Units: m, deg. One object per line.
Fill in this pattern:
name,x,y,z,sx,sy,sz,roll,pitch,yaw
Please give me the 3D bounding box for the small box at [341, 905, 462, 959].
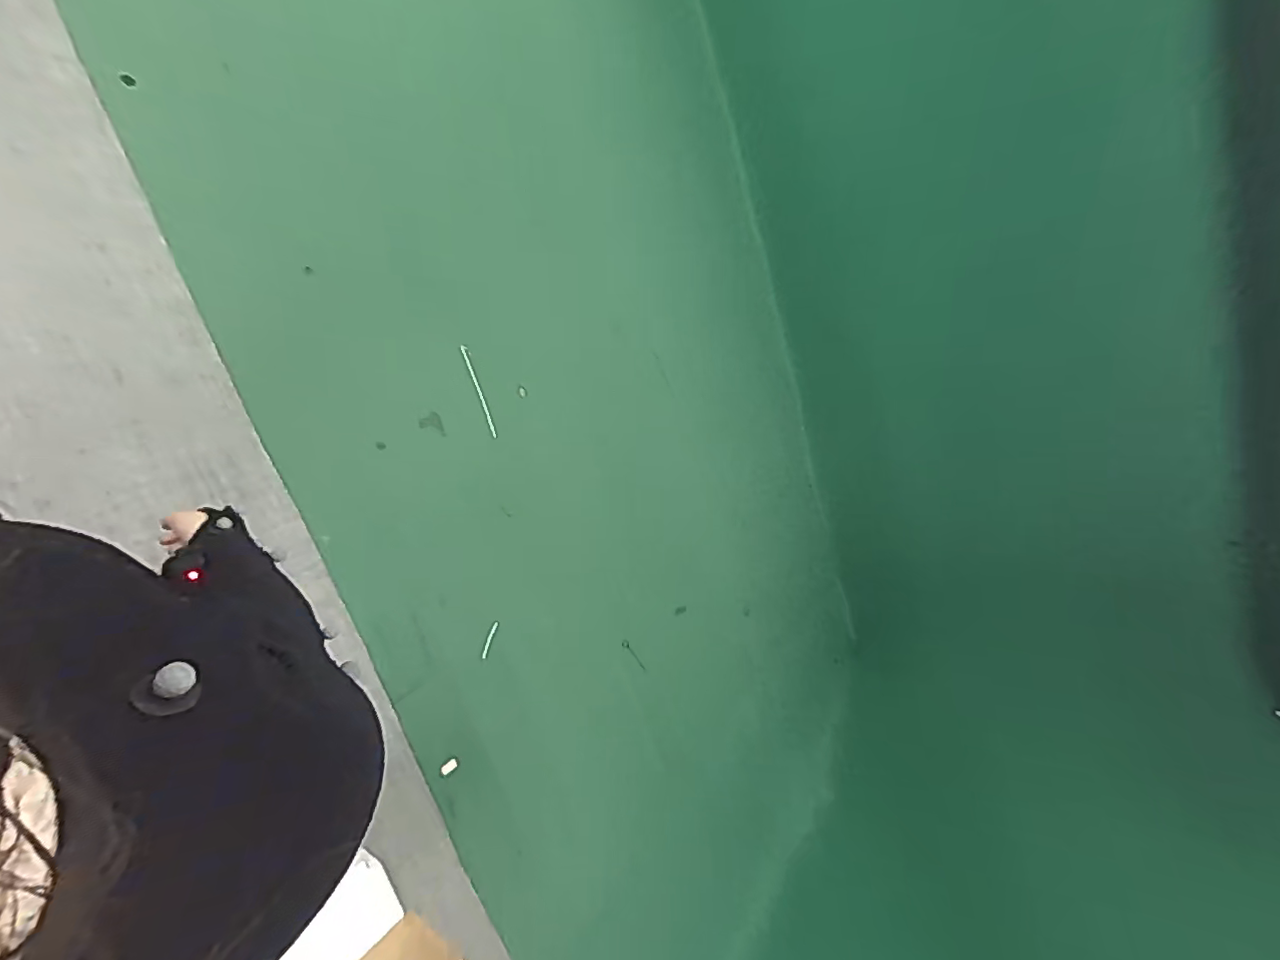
small box,-0.375,0.814,0.827,0.179,0.176,0.168,-29,107,-48
